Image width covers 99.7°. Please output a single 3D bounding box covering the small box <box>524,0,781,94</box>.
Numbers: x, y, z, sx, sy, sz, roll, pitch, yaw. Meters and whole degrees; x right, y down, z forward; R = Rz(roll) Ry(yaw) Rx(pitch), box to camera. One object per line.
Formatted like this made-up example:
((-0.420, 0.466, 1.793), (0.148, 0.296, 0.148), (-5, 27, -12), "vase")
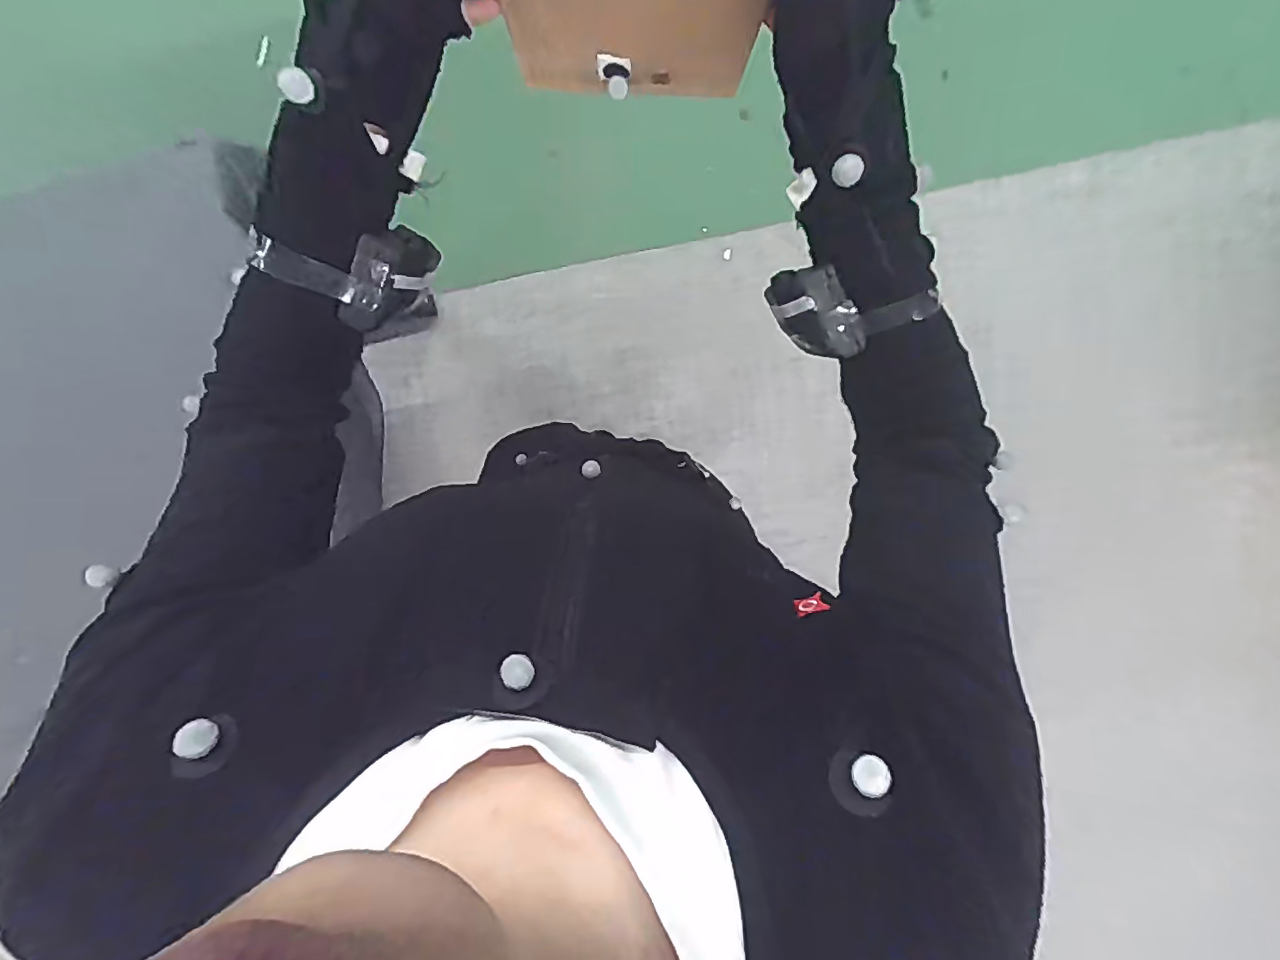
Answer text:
((0.006, -0.380, 0.331), (0.168, 0.176, 0.179), (1, 101, -2), "small box")
